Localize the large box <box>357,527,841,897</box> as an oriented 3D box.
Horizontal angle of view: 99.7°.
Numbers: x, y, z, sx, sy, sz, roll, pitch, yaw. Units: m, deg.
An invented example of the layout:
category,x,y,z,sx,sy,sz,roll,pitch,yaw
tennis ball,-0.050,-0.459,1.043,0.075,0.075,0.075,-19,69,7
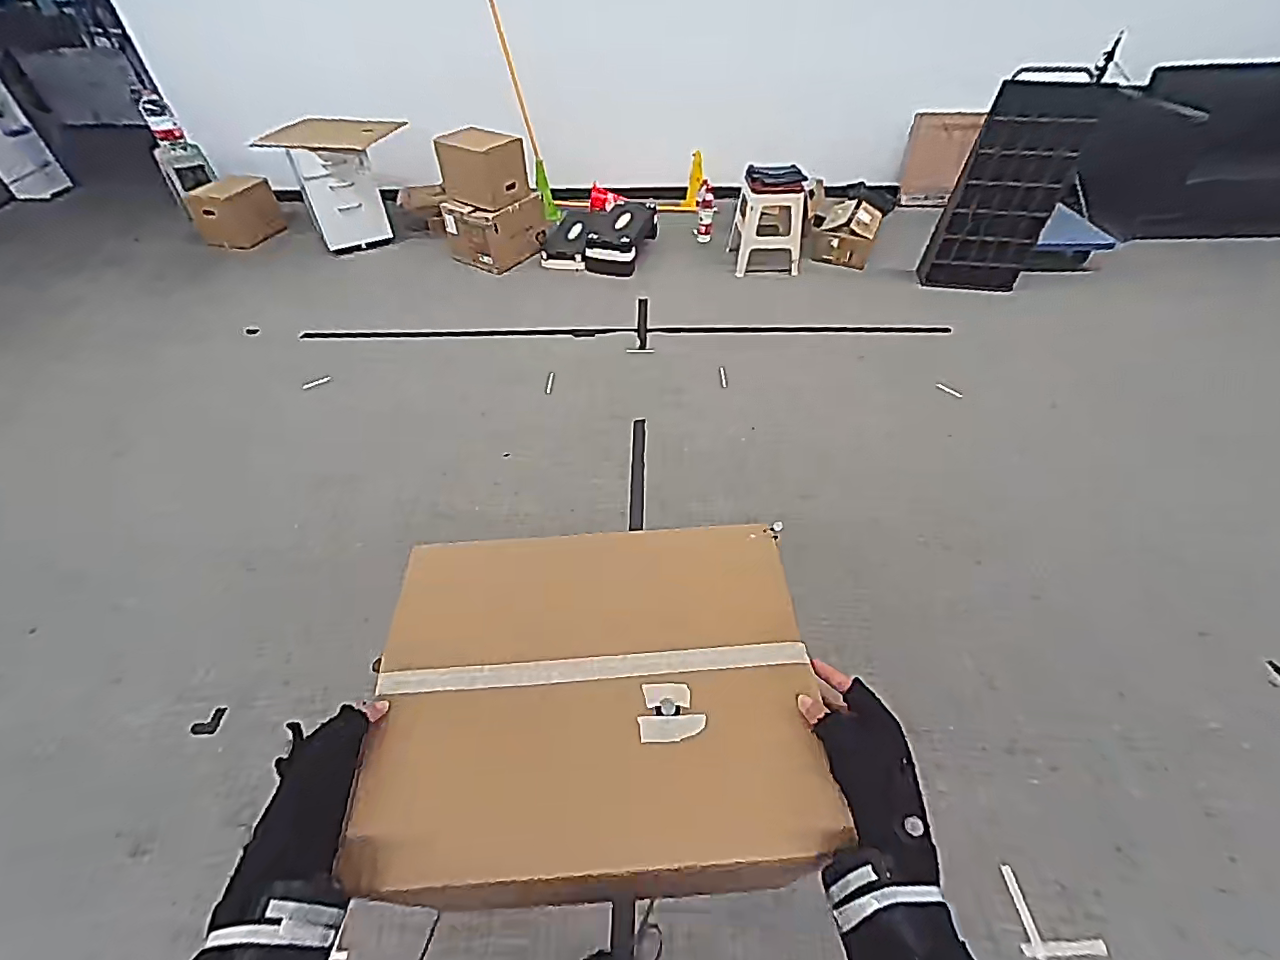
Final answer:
category,x,y,z,sx,sy,sz,roll,pitch,yaw
large box,-0.040,0.279,0.644,0.408,0.320,0.320,-3,51,-2
